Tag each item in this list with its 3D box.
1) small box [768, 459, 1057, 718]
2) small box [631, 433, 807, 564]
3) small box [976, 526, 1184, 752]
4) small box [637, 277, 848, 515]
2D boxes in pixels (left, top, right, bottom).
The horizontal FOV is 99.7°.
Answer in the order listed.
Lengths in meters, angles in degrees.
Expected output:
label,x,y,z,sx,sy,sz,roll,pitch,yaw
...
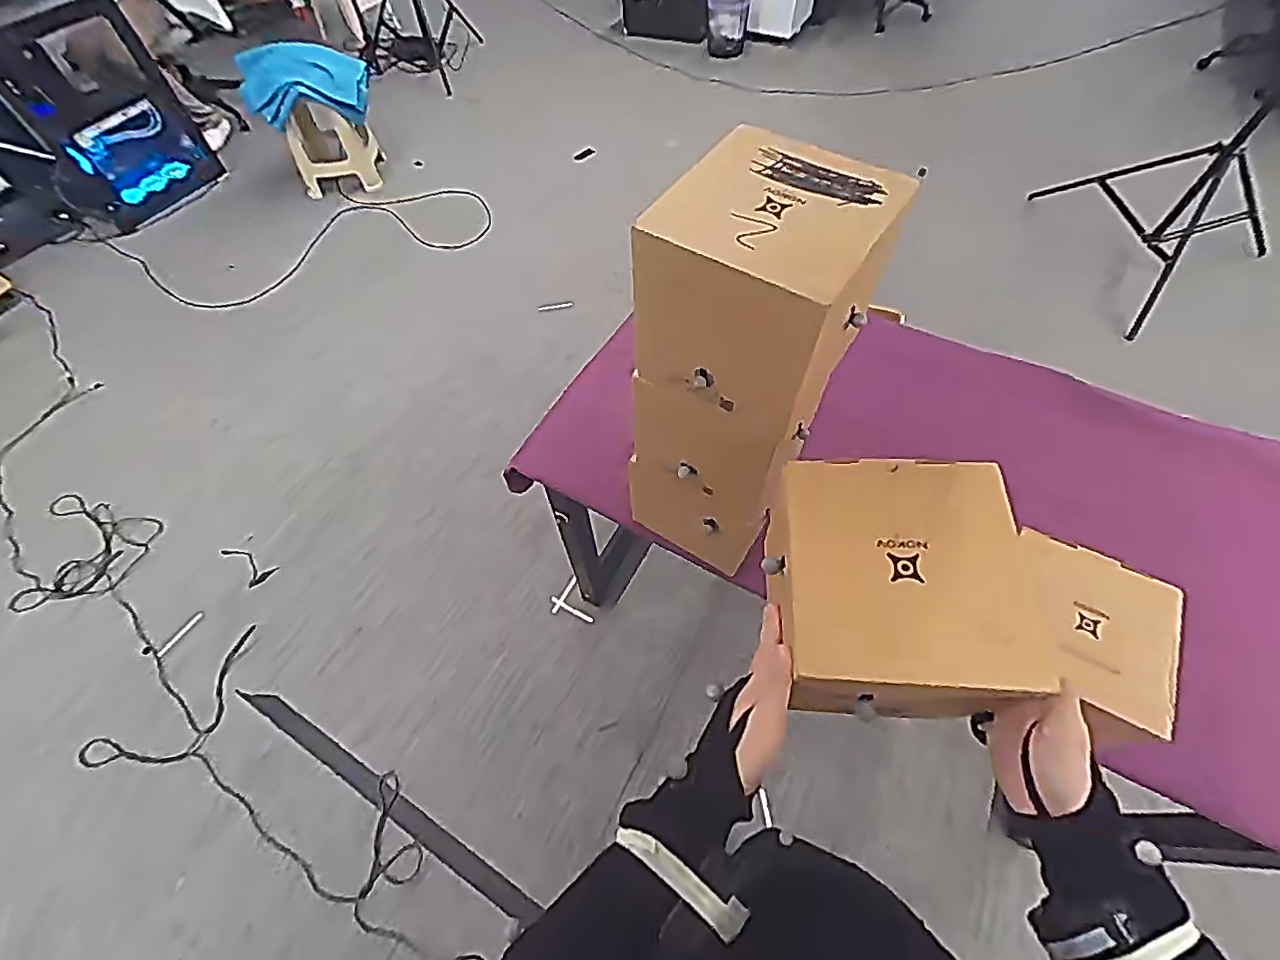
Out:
label,x,y,z,sx,sy,sz,roll,pitch,yaw
small box,0.201,0.099,0.462,0.168,0.176,0.179,0,59,8
small box,0.105,-0.002,0.766,0.179,0.176,0.168,29,63,18
small box,0.476,0.191,0.636,0.168,0.176,0.179,25,64,18
small box,0.109,-0.093,0.629,0.168,0.176,0.179,29,65,18
